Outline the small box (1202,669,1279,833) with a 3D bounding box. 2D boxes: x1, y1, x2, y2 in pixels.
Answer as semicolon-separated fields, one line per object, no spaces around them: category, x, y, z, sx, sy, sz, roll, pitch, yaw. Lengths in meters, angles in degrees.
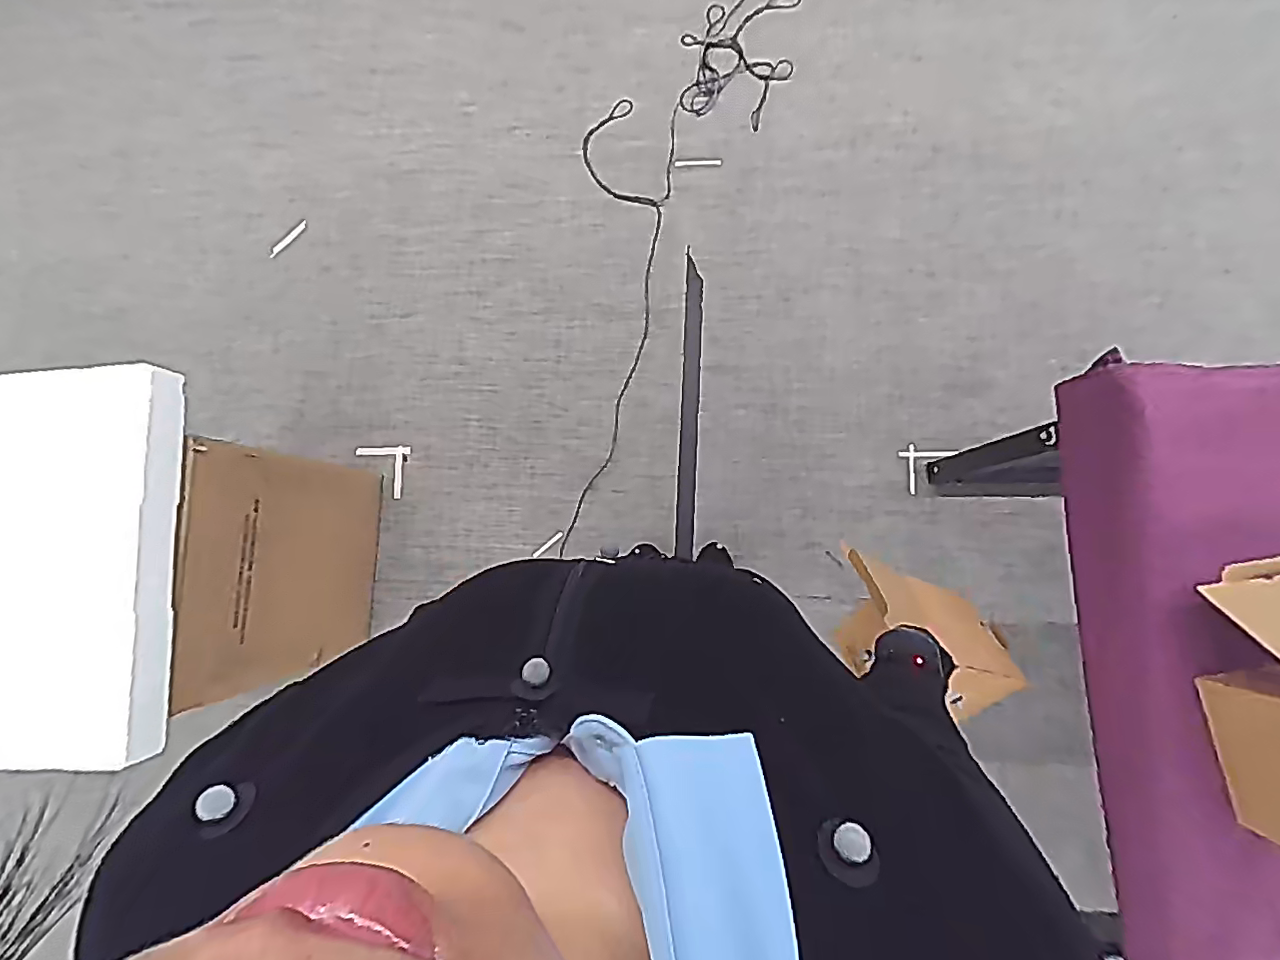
small box;0.781;0.304;0.583;0.168;0.176;0.179;-10;81;5
